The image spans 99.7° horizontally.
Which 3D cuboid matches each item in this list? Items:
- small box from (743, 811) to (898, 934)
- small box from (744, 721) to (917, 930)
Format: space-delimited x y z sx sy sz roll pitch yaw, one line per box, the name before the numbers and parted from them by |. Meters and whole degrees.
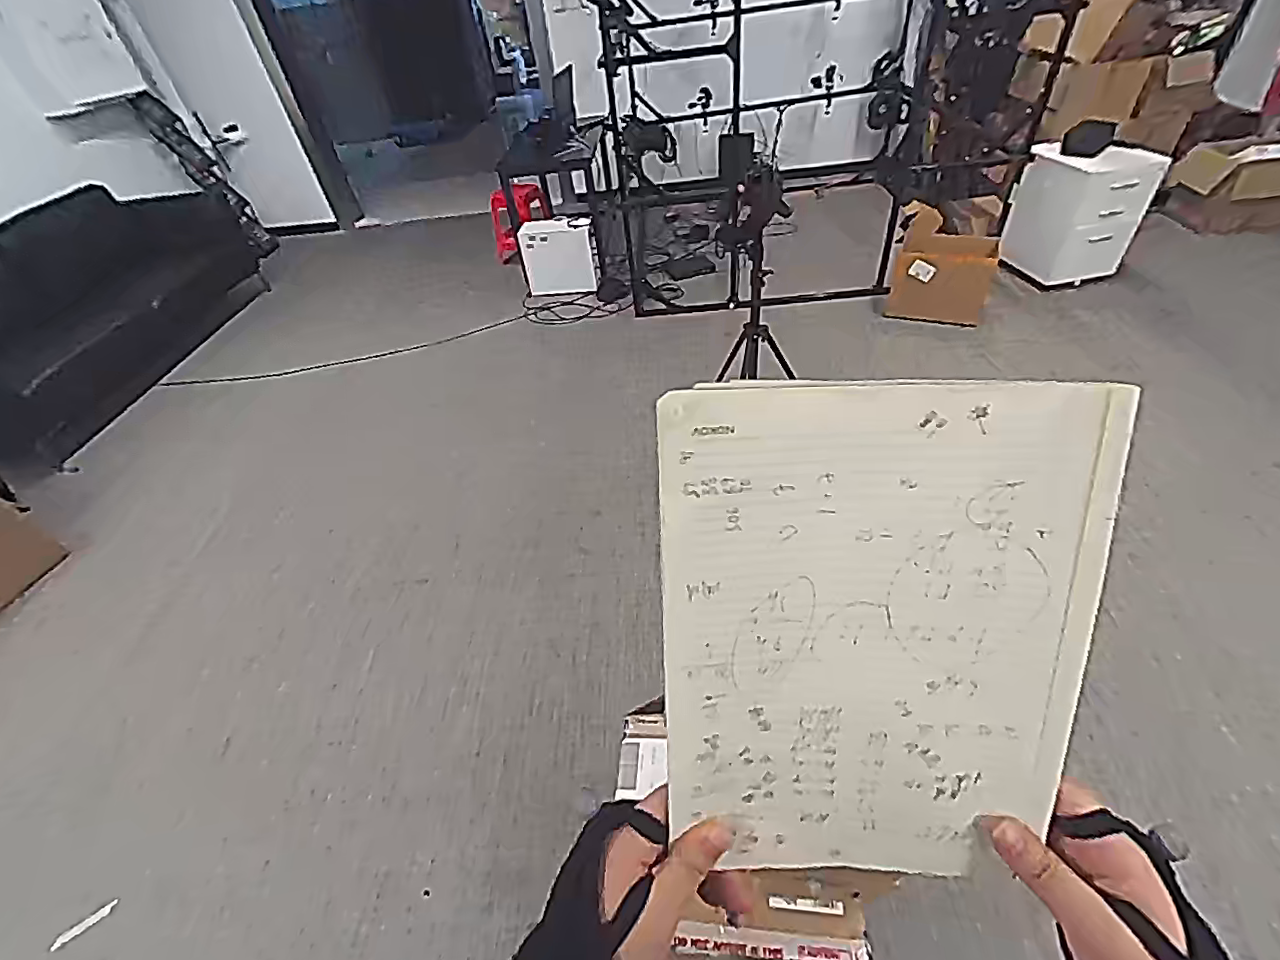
small box | 0.249 0.547 0.792 0.179 0.176 0.168 0 44 6
small box | 0.219 0.431 0.677 0.168 0.176 0.179 3 46 8
